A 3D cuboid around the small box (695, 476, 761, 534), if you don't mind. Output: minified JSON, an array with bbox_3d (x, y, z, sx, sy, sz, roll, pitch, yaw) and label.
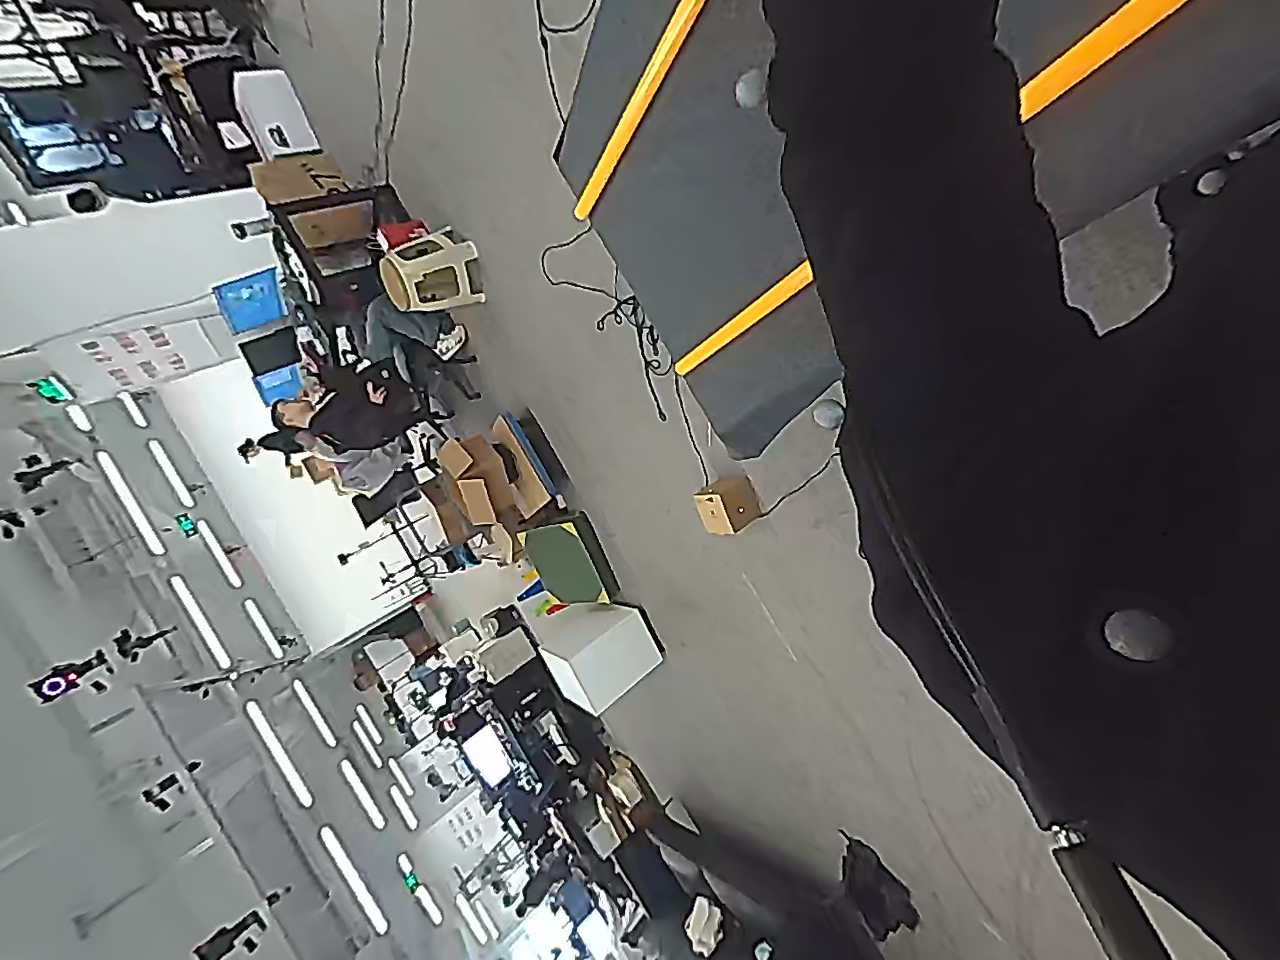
[{"bbox_3d":[0.357,0.098,2.164,0.168,0.176,0.179,-6,111,58],"label":"small box"}]
